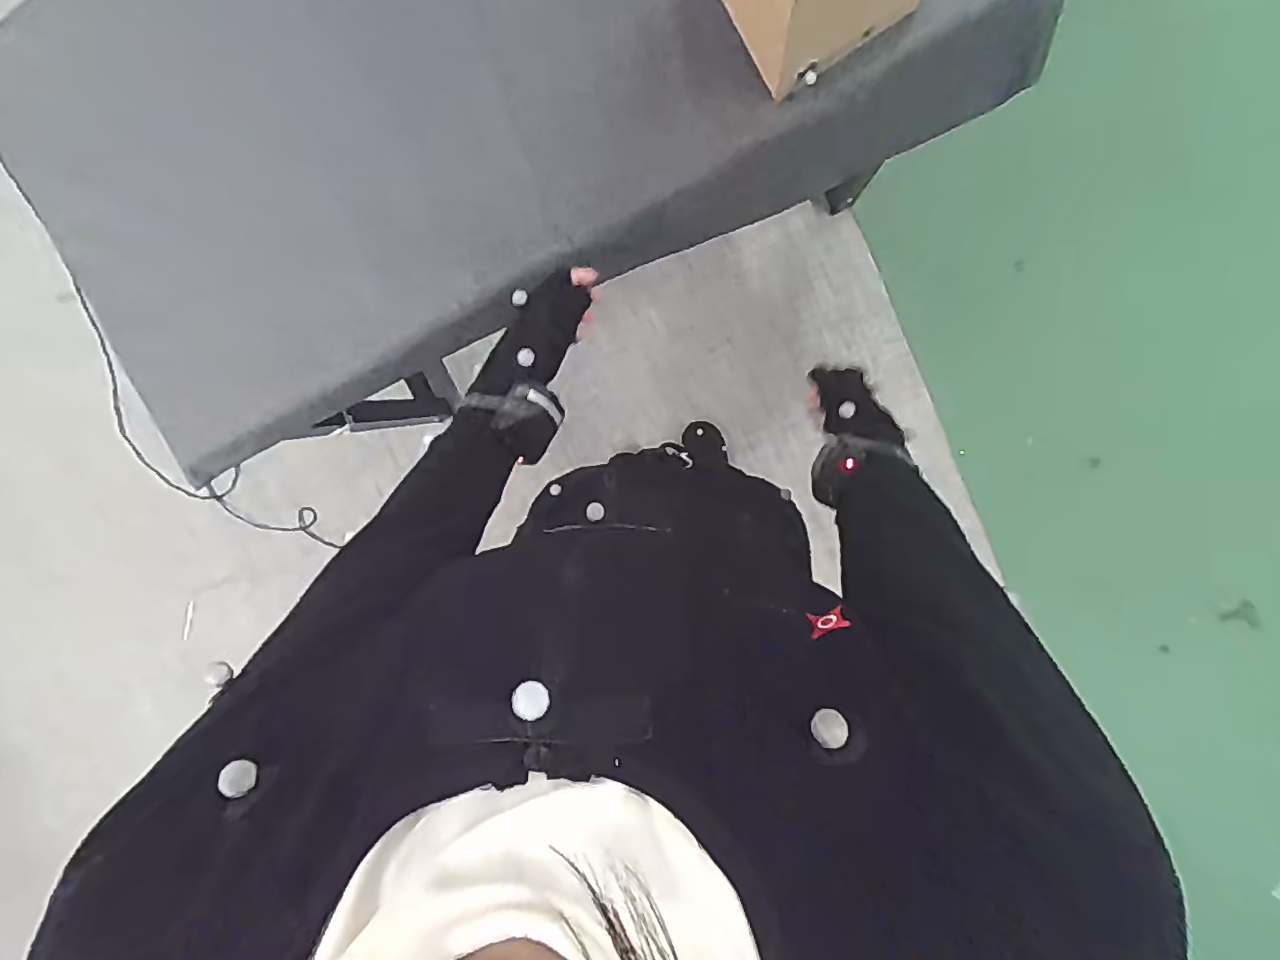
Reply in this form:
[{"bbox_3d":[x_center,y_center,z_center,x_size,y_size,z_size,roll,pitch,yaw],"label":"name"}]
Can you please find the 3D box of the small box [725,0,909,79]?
[{"bbox_3d":[0.168,-0.529,0.508,0.168,0.176,0.179,-29,93,11],"label":"small box"}]
